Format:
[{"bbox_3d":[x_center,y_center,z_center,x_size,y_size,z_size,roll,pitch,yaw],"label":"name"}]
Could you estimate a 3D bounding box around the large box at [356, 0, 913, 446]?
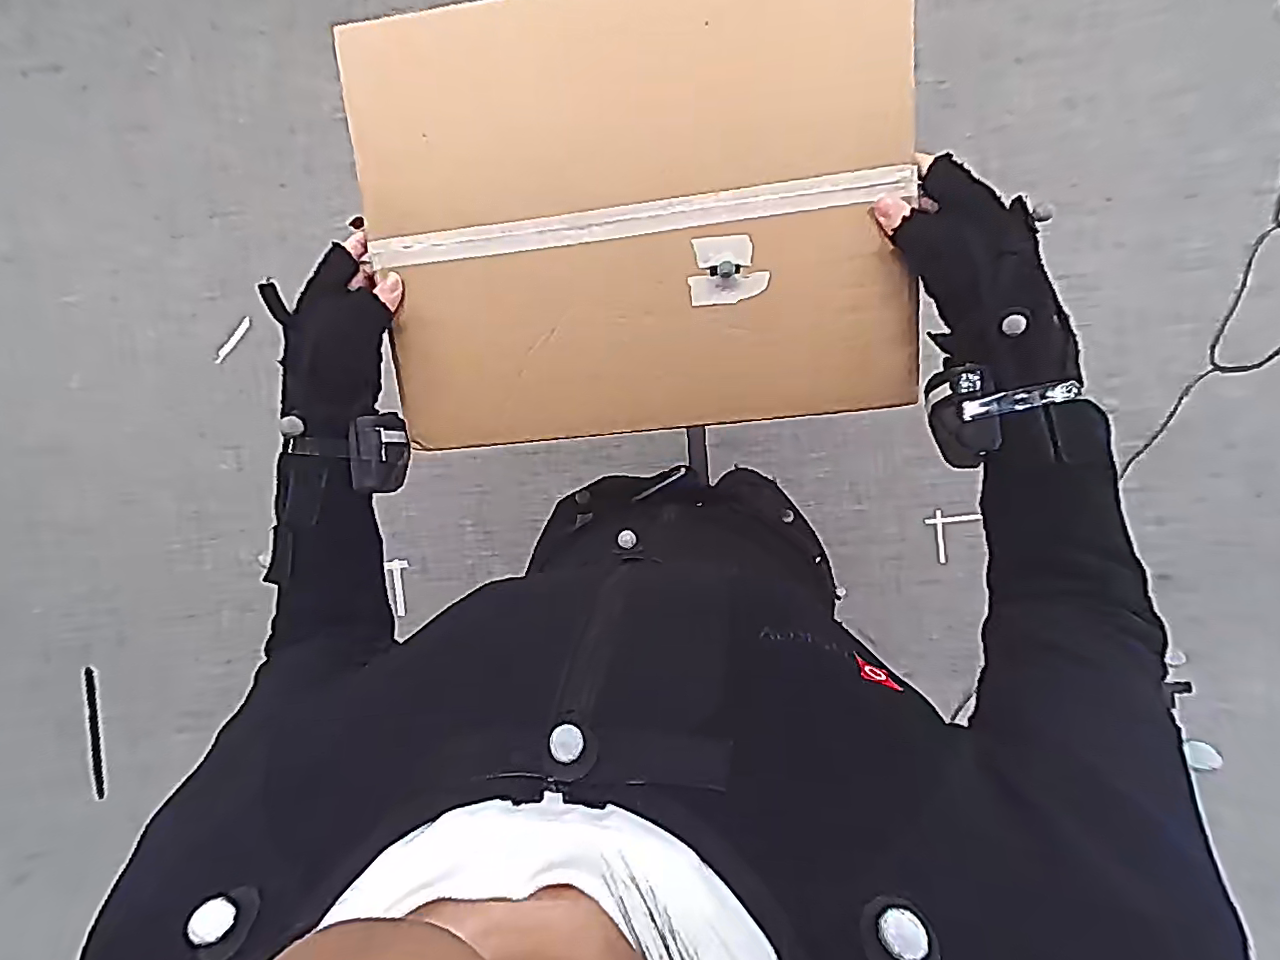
[{"bbox_3d":[0.008,-0.227,0.560,0.408,0.320,0.320,-6,101,5],"label":"large box"}]
